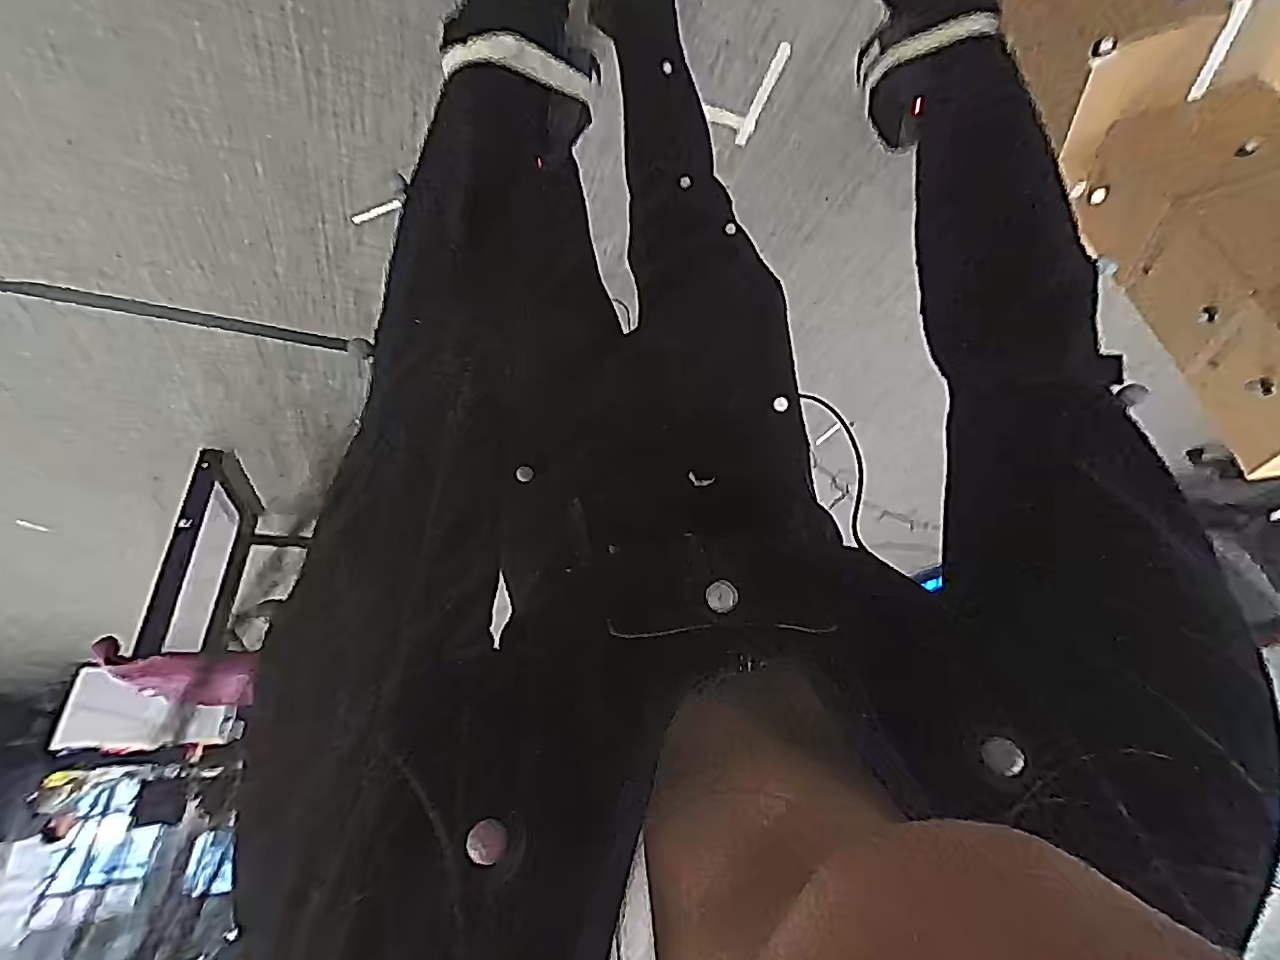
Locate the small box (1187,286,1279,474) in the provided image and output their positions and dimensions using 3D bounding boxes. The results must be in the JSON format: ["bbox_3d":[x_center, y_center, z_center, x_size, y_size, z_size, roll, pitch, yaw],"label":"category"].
[{"bbox_3d":[0.811,-0.132,0.627,0.179,0.176,0.168,-14,151,15],"label":"small box"}]

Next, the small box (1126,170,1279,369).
[{"bbox_3d":[0.800,-0.278,0.699,0.179,0.176,0.168,-14,151,15],"label":"small box"}]

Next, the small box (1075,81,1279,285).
[{"bbox_3d":[0.784,-0.422,0.777,0.179,0.176,0.168,-13,151,16],"label":"small box"}]
